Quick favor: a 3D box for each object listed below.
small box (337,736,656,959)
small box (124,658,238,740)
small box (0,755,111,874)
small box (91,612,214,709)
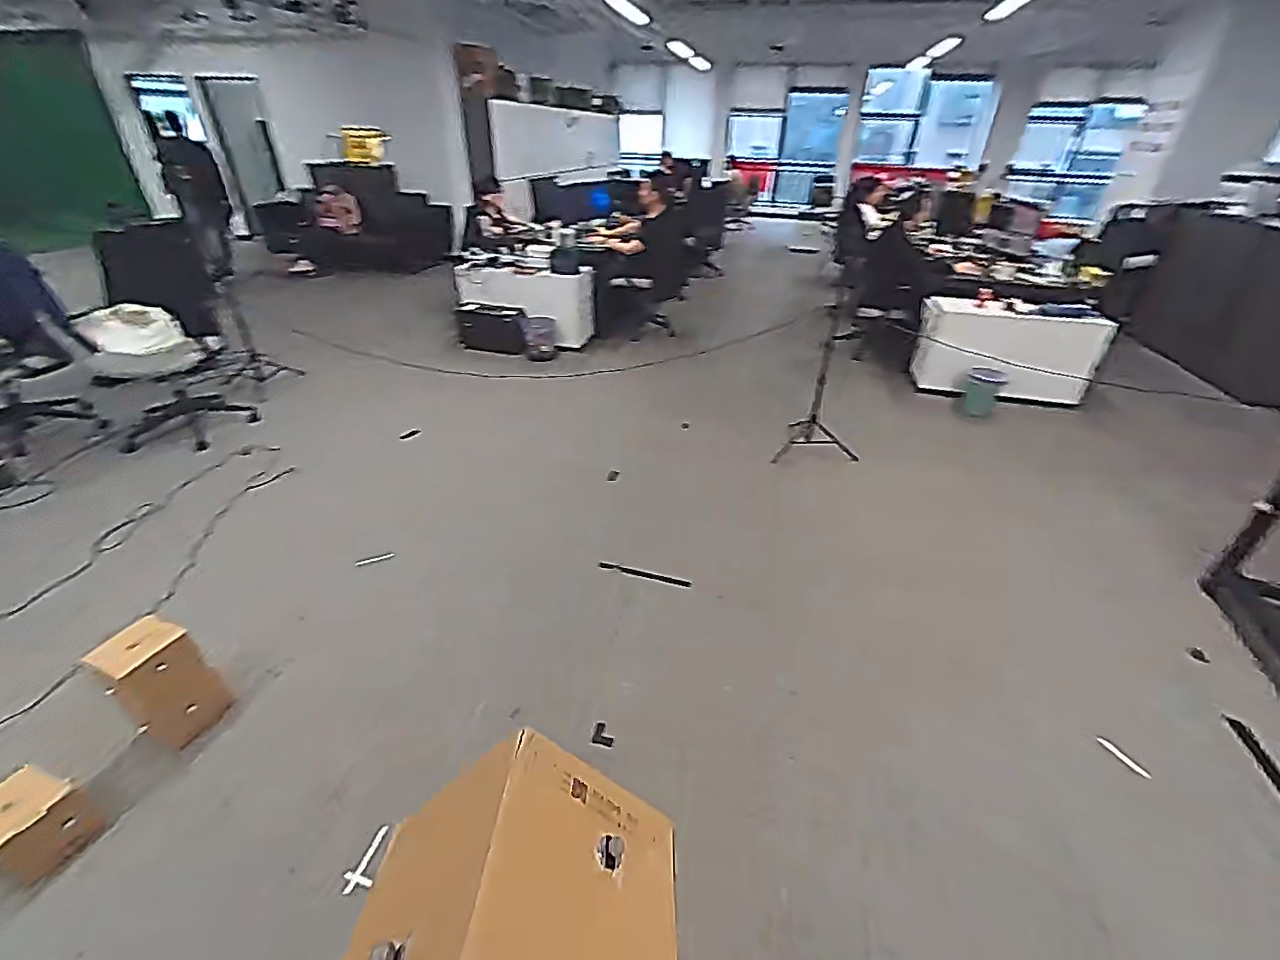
[{"bbox_3d":[-0.099,0.330,0.390,0.168,0.179,0.176,42,18,-17],"label":"small box"},{"bbox_3d":[-1.372,0.646,1.629,0.168,0.176,0.179,12,34,15],"label":"small box"},{"bbox_3d":[-1.485,0.831,1.338,0.179,0.176,0.168,14,34,18],"label":"small box"},{"bbox_3d":[-1.369,0.512,1.532,0.168,0.176,0.179,13,34,17],"label":"small box"}]
